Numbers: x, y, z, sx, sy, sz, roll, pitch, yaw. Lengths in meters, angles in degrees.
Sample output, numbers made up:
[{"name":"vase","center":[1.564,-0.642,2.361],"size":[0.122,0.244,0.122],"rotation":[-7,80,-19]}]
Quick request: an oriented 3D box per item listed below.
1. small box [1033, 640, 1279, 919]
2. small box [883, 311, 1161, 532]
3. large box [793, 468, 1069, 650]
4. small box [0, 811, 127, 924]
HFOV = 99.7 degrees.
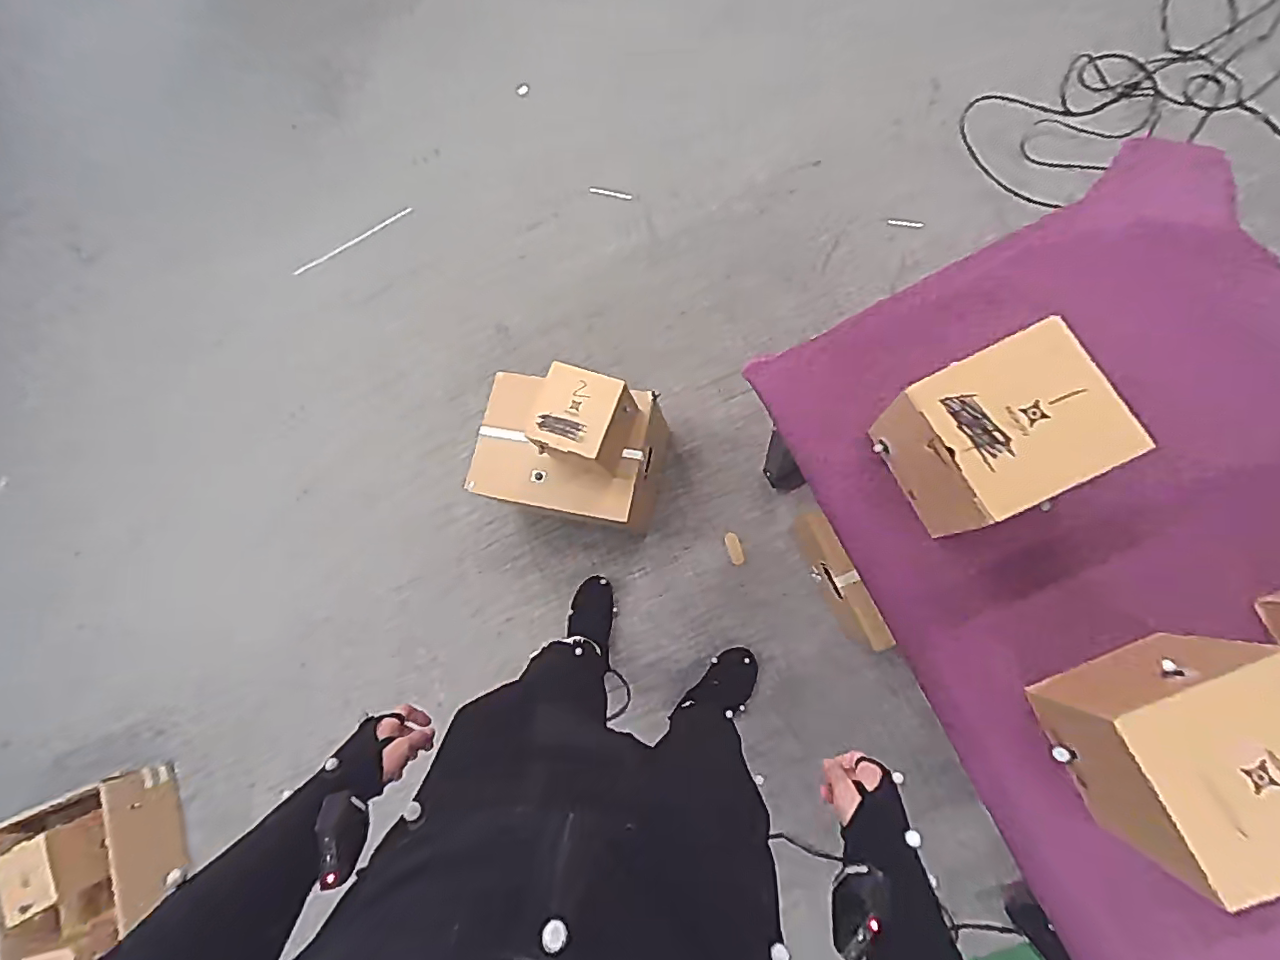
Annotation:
[{"name":"small box","center":[0.550,0.270,0.534],"size":[0.179,0.176,0.168],"rotation":[-24,75,5]},{"name":"small box","center":[0.405,-0.051,0.619],"size":[0.179,0.176,0.168],"rotation":[-26,76,3]},{"name":"large box","center":[0.612,0.148,1.230],"size":[0.408,0.320,0.320],"rotation":[-25,77,4]},{"name":"small box","center":[-1.572,1.045,1.481],"size":[0.168,0.176,0.179],"rotation":[-29,76,3]}]
